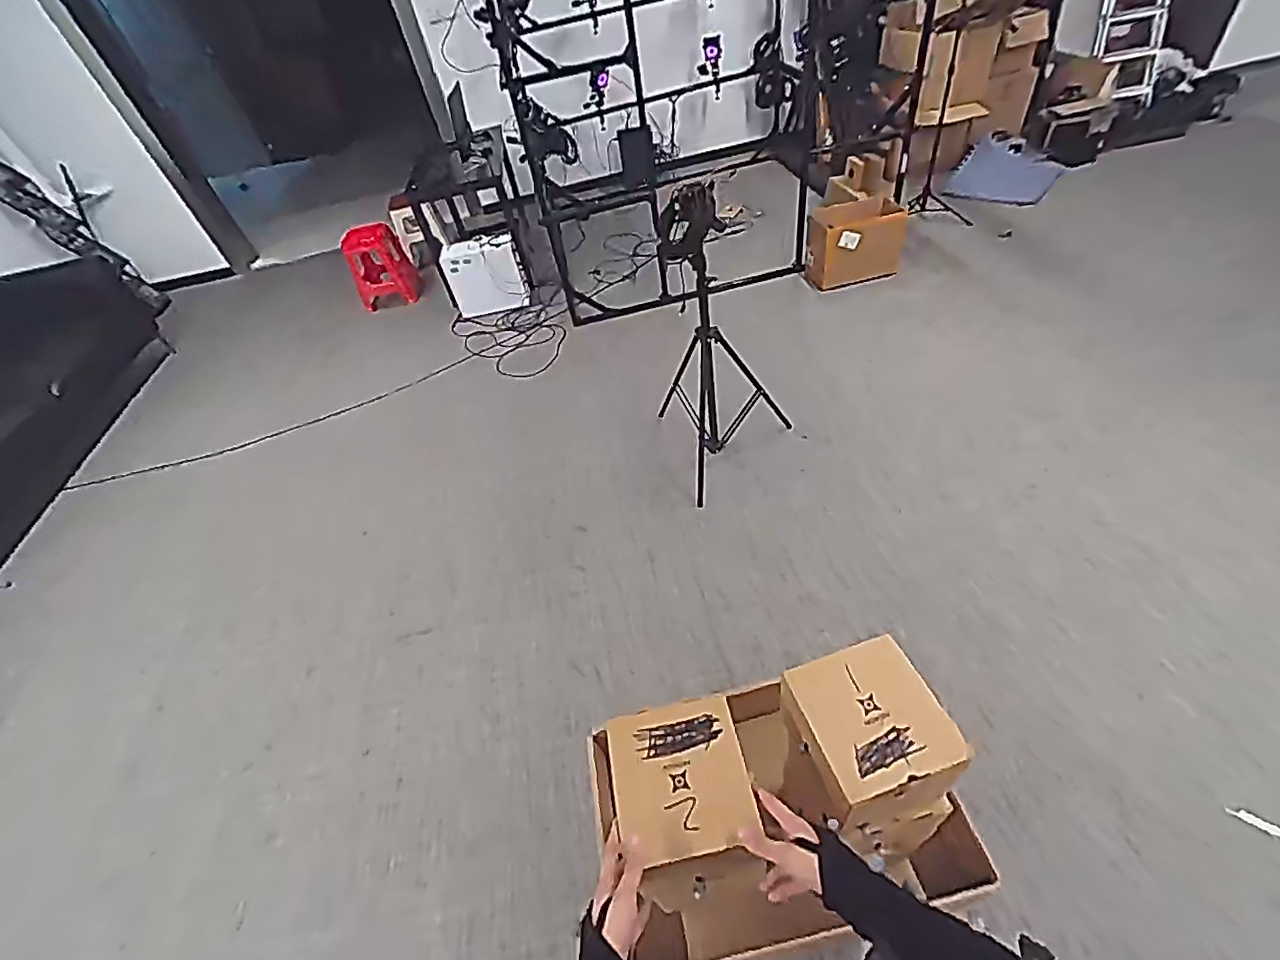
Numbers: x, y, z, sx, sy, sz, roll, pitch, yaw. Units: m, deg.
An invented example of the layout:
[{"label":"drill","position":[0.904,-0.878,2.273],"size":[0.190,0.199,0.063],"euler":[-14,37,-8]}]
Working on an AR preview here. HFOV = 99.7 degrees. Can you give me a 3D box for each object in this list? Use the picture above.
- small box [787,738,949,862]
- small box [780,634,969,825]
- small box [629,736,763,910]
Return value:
[{"label":"small box","position":[0.343,0.470,0.857],"size":[0.168,0.176,0.179],"euler":[-16,46,-3]},{"label":"small box","position":[0.307,0.350,0.749],"size":[0.168,0.176,0.179],"euler":[-18,45,-5]},{"label":"small box","position":[0.087,0.538,0.848],"size":[0.168,0.176,0.179],"euler":[-14,44,0]}]
